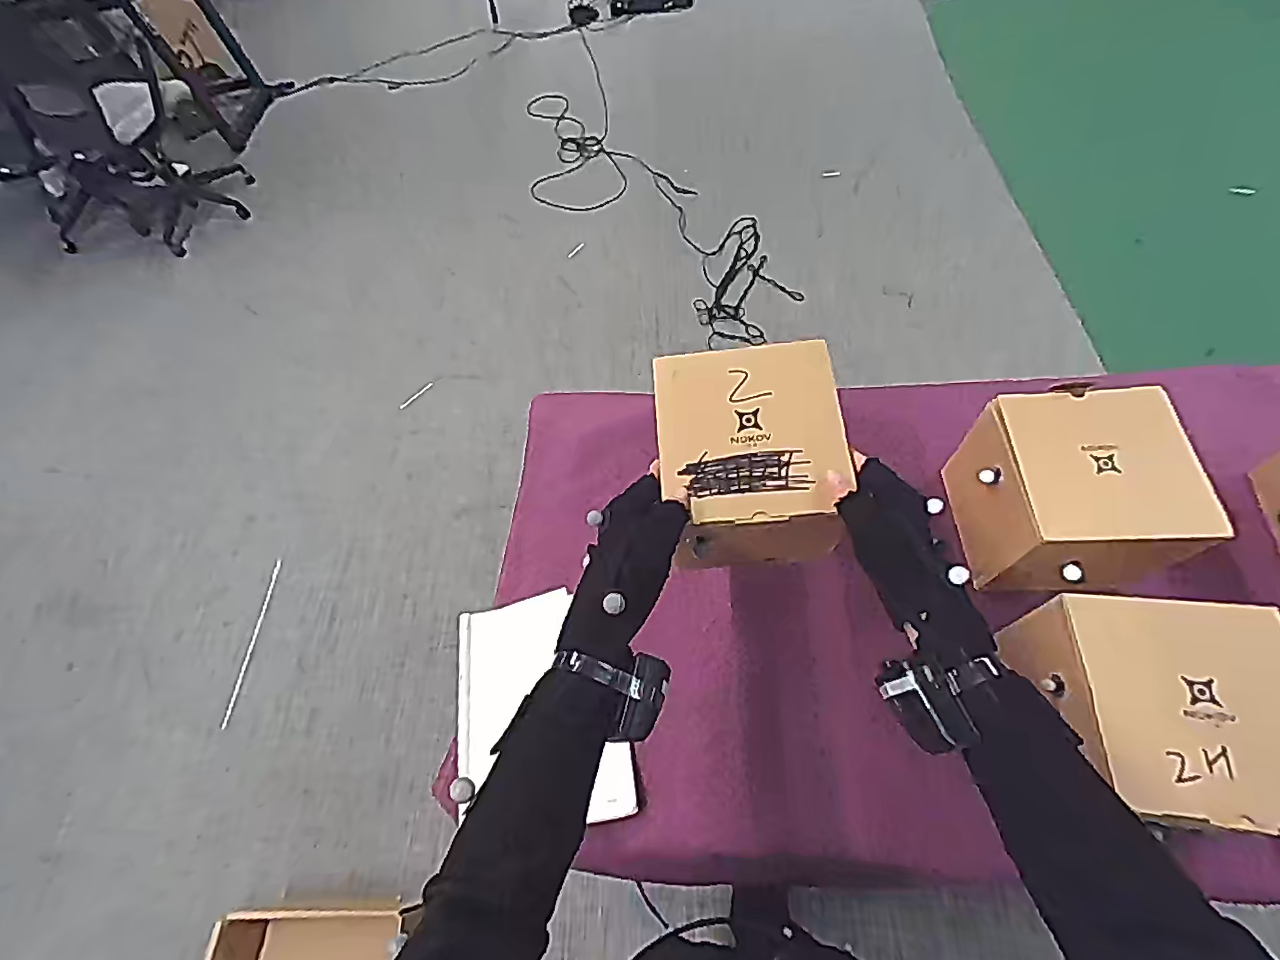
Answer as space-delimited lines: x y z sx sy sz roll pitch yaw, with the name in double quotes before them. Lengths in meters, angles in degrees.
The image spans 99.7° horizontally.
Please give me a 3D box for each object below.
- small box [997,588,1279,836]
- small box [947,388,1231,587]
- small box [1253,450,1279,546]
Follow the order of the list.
"small box" 0.467 0.217 0.506 0.168 0.176 0.179 2 61 11
"small box" 0.483 0.019 0.620 0.168 0.176 0.179 -3 60 8
"small box" 0.816 0.028 0.555 0.168 0.176 0.179 4 62 12
